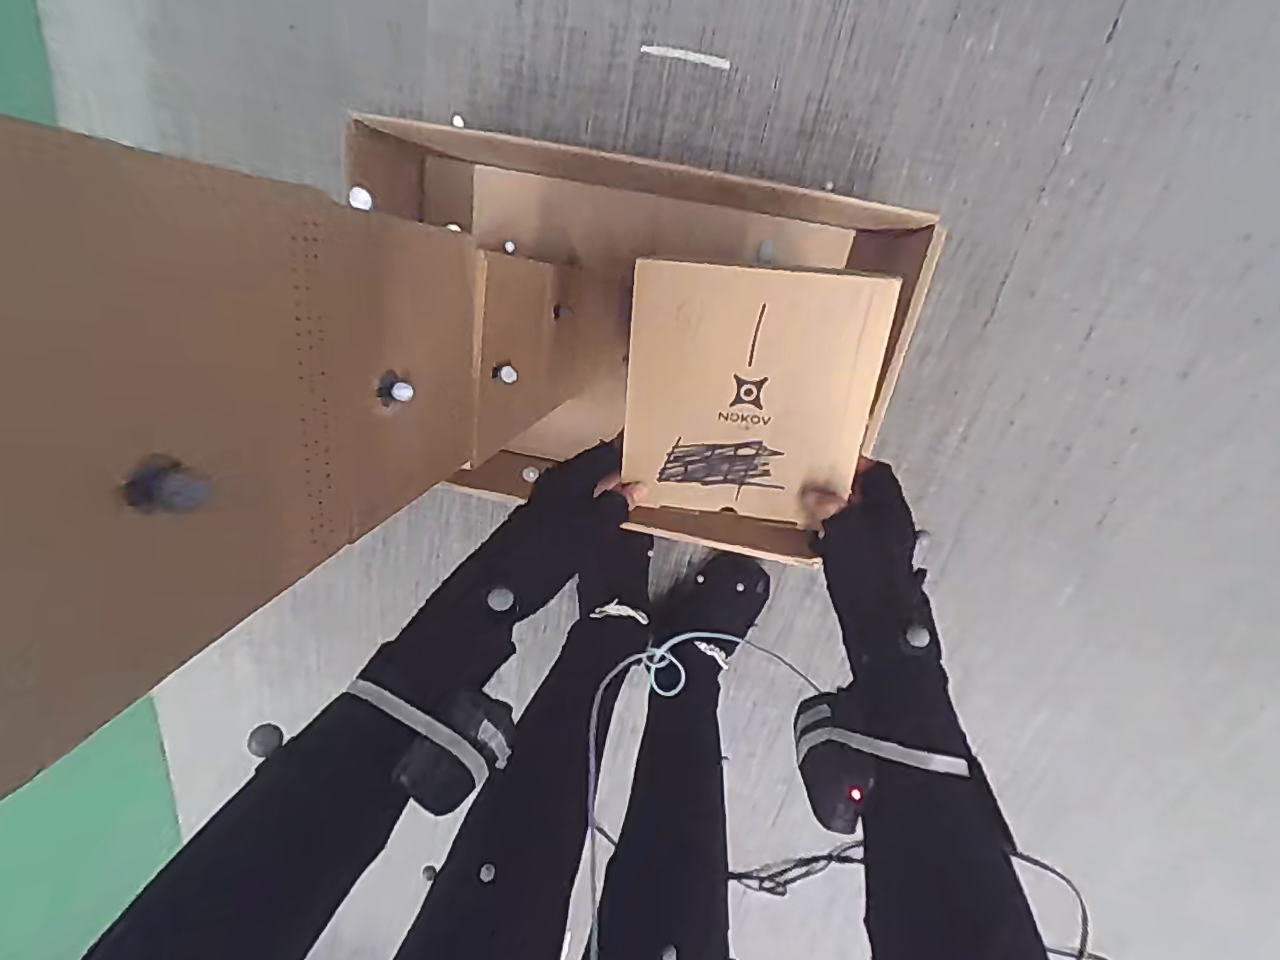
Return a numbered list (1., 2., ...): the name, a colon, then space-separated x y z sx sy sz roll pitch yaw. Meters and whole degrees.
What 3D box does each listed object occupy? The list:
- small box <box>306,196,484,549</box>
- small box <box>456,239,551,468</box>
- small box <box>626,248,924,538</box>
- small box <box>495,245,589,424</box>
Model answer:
1. small box: -0.210 -0.083 0.344 0.168 0.176 0.179 10 111 4
2. small box: -0.188 -0.132 0.498 0.168 0.176 0.179 12 111 4
3. small box: 0.089 -0.080 0.433 0.168 0.176 0.179 9 115 2
4. small box: -0.166 -0.186 0.650 0.168 0.176 0.179 13 111 4
